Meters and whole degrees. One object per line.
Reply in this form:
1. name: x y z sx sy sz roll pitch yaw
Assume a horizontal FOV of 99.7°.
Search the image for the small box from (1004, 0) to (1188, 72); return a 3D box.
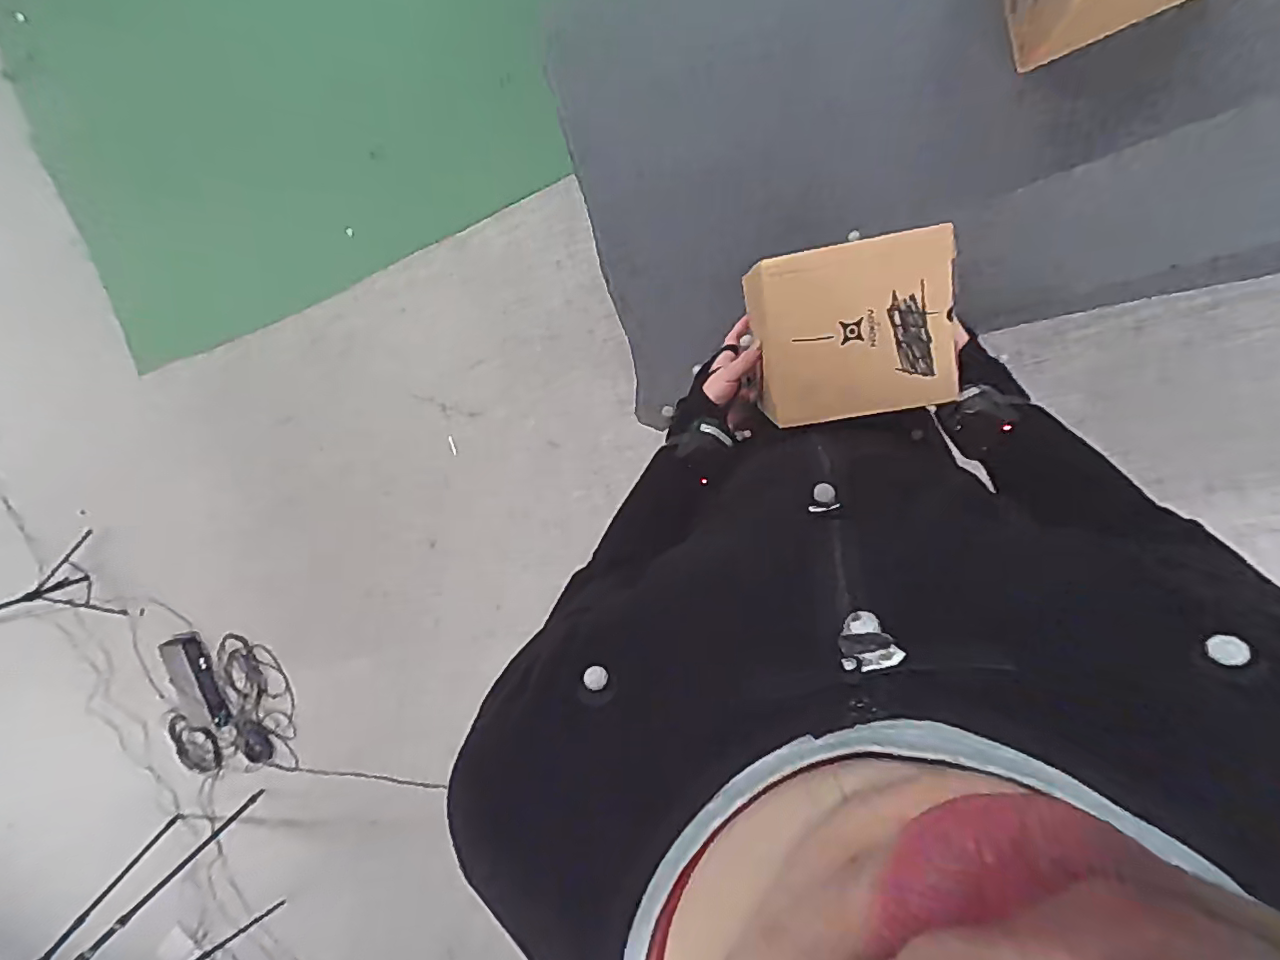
1. small box: 0.451 -0.529 0.499 0.179 0.176 0.168 -15 101 21
